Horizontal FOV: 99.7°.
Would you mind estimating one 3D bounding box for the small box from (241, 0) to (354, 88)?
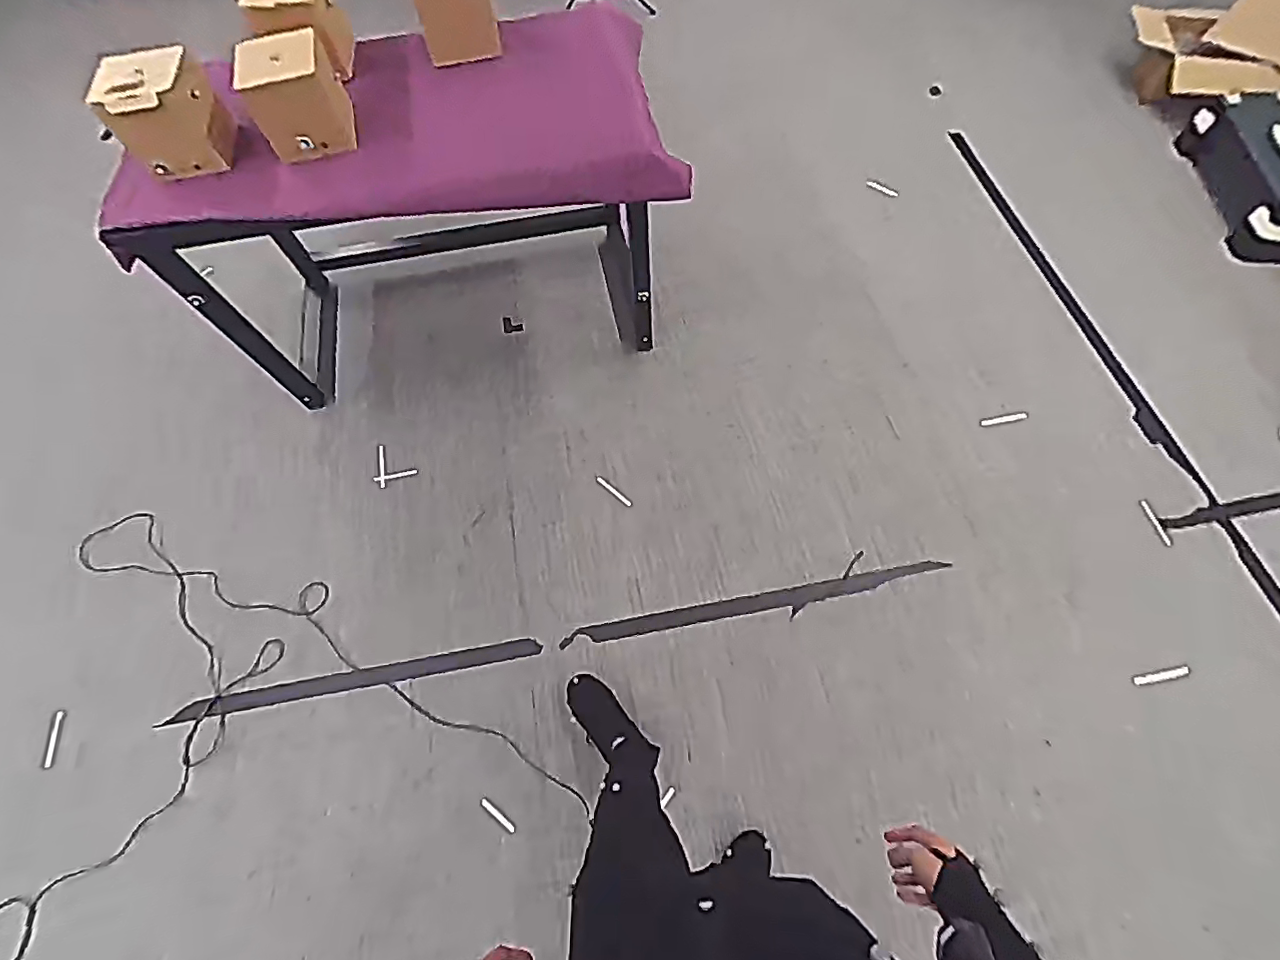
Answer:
[{"bbox_3d":[-0.816,-1.085,1.310,0.168,0.176,0.179,-8,66,-2],"label":"small box"}]

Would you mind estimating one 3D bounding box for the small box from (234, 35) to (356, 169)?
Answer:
[{"bbox_3d":[-0.754,-0.832,1.198,0.168,0.176,0.179,-15,66,-4],"label":"small box"}]

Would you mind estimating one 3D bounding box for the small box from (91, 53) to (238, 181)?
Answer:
[{"bbox_3d":[-1.023,-0.782,1.182,0.168,0.176,0.179,-12,64,-4],"label":"small box"}]
